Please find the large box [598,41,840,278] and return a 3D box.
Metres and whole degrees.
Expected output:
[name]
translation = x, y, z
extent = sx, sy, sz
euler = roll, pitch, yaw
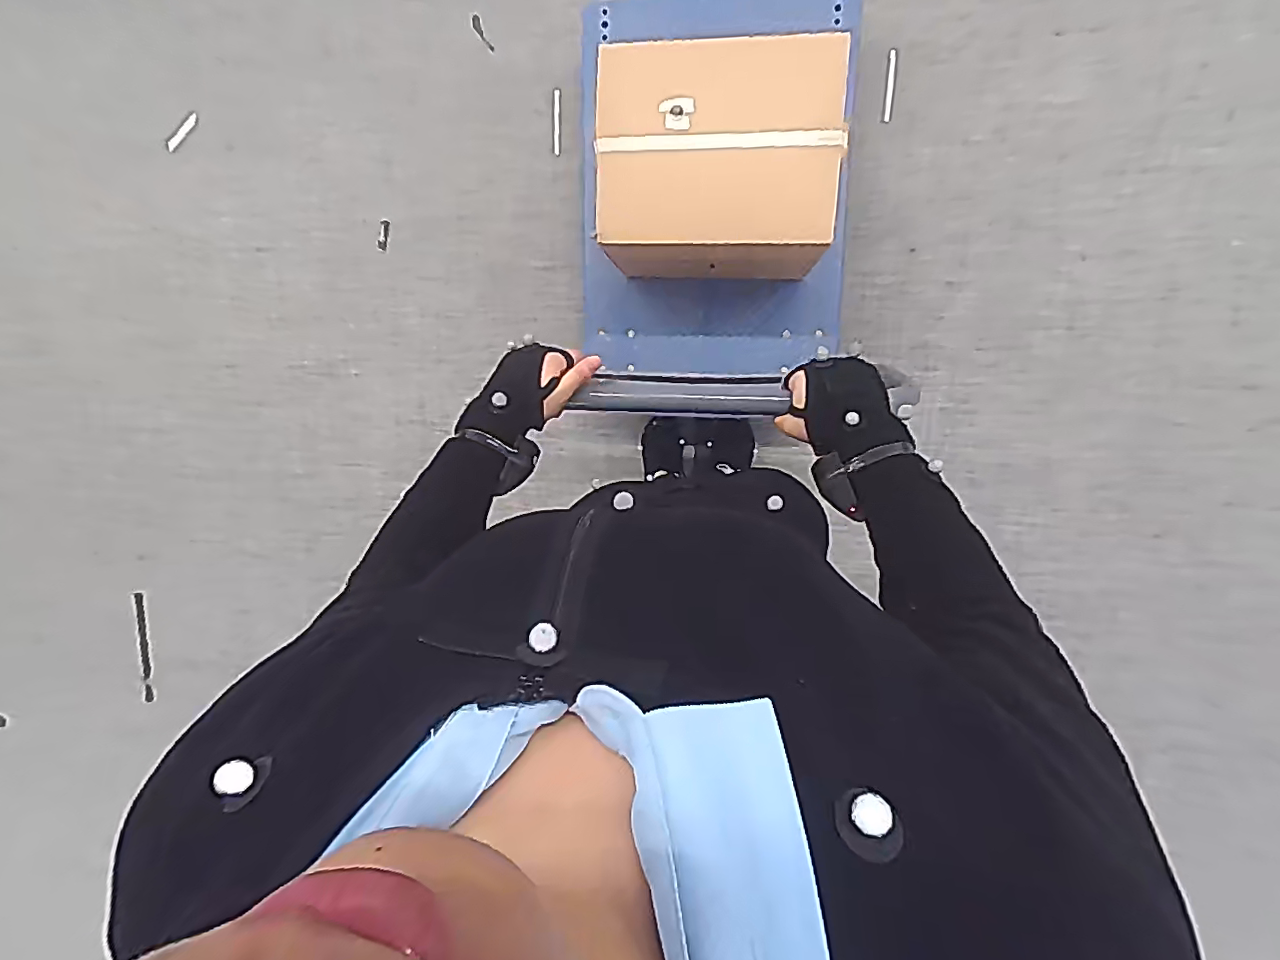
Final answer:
[large box]
translation = 0.147, -0.585, 1.063
extent = 0.408, 0.320, 0.320
euler = 3, 99, 8
